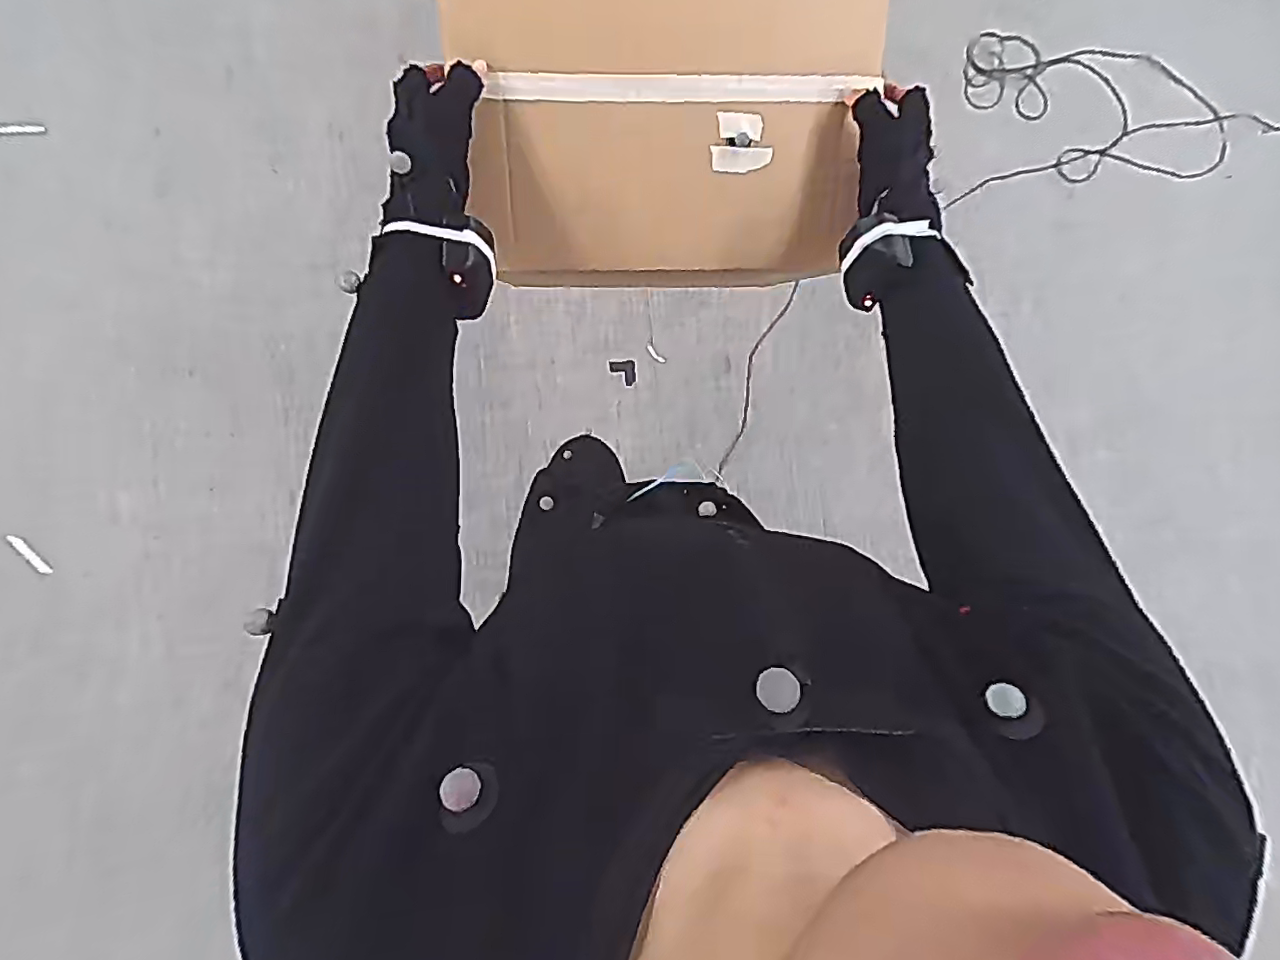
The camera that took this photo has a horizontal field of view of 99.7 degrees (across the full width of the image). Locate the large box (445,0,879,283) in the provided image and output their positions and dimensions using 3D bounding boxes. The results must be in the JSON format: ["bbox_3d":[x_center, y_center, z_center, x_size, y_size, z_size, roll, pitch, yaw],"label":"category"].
[{"bbox_3d":[0.012,-0.416,0.652,0.408,0.320,0.320,-2,108,-5],"label":"large box"}]
